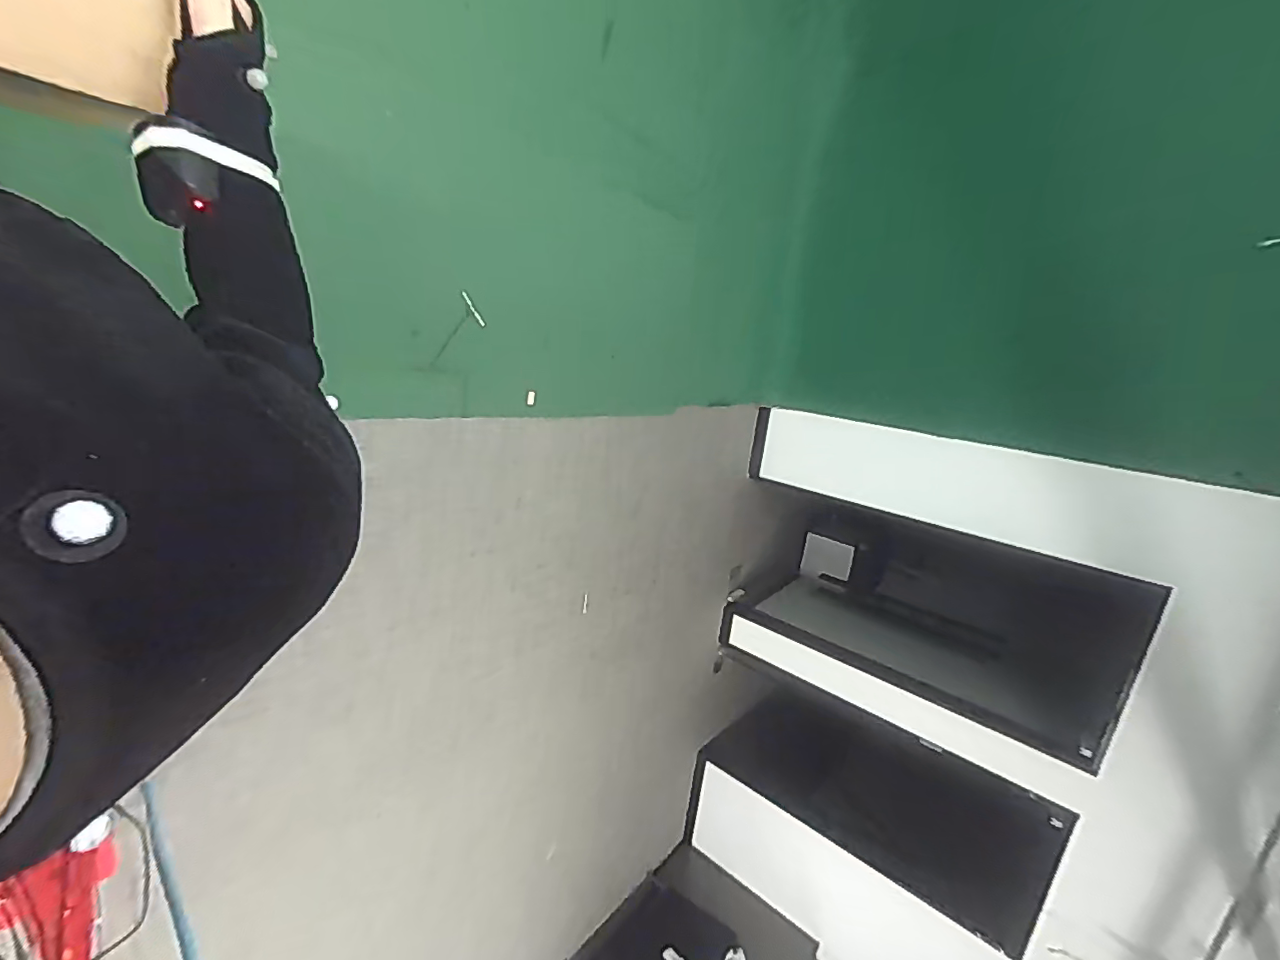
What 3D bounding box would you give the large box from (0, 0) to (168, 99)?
[{"bbox_3d":[-0.593,-0.474,0.315,0.408,0.320,0.320,-15,123,-54],"label":"large box"}]
